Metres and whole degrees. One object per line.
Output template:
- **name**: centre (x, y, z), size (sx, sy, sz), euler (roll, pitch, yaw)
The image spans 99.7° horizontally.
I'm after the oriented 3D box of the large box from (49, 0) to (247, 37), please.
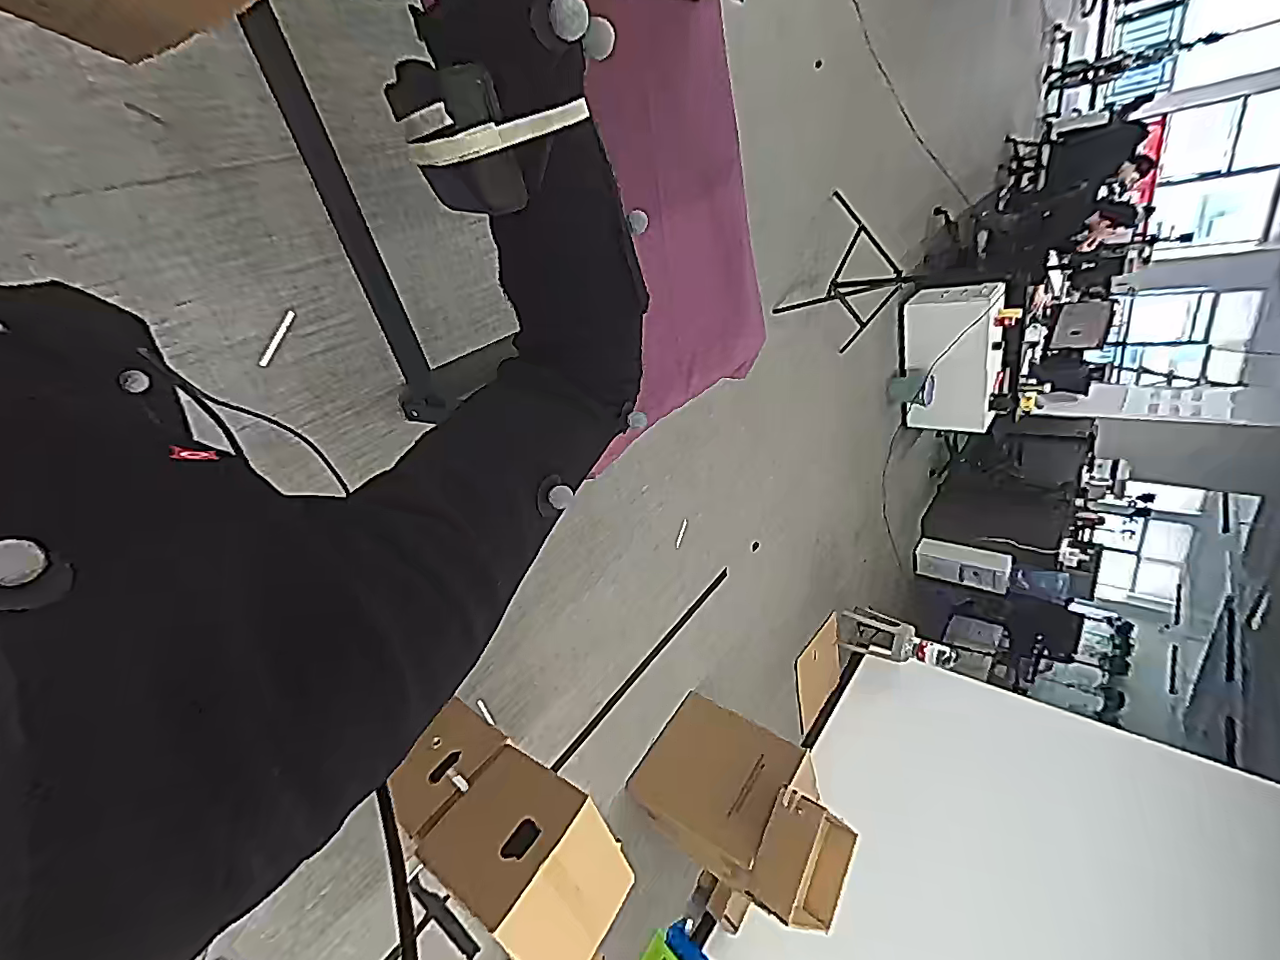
- **large box**: centre (-0.270, -0.427, 0.120), size (0.320, 0.320, 0.408), euler (-6, 114, -51)
